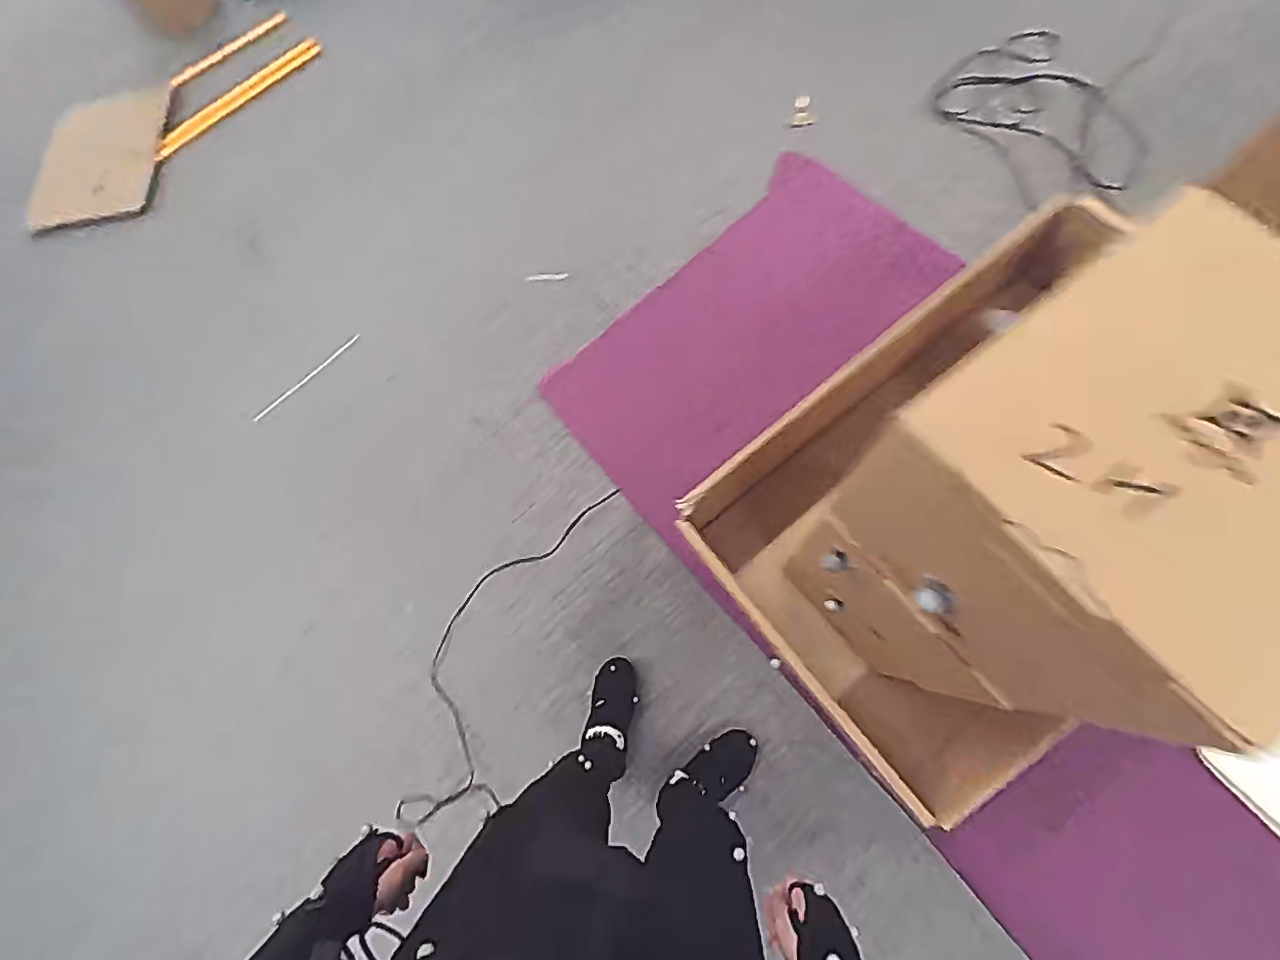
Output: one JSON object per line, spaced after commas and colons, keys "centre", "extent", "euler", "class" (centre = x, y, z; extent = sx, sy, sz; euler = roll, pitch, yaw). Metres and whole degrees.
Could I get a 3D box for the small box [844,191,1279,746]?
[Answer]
{"centre": [0.239, 0.002, 0.289], "extent": [0.179, 0.176, 0.168], "euler": [-37, 72, -2], "class": "small box"}
